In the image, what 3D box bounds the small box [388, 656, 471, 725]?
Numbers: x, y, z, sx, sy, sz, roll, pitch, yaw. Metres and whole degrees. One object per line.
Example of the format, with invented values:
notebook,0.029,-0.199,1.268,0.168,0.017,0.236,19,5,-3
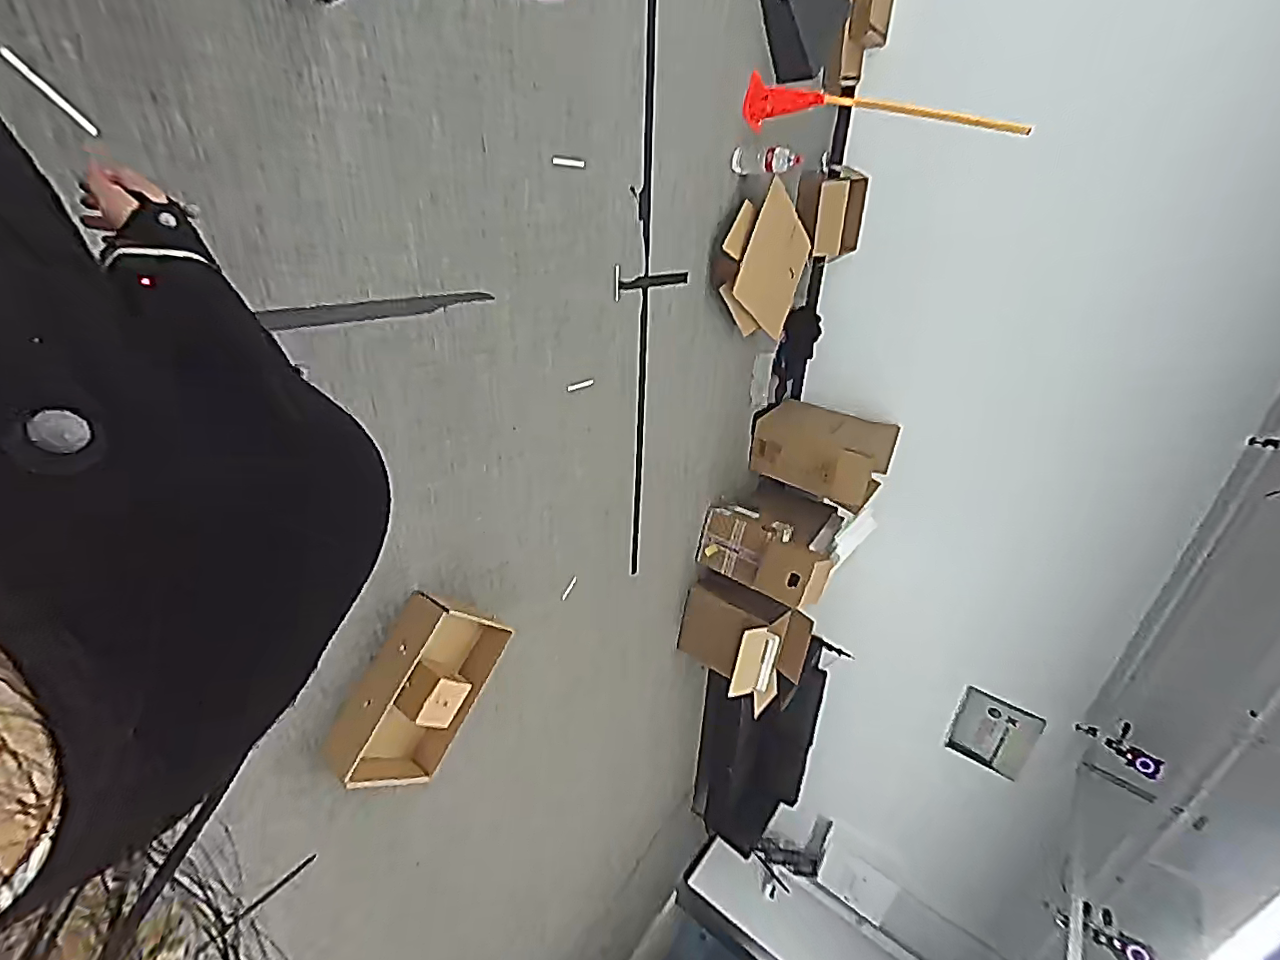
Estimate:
small box,-0.753,0.752,1.937,0.168,0.176,0.179,-60,147,-14
